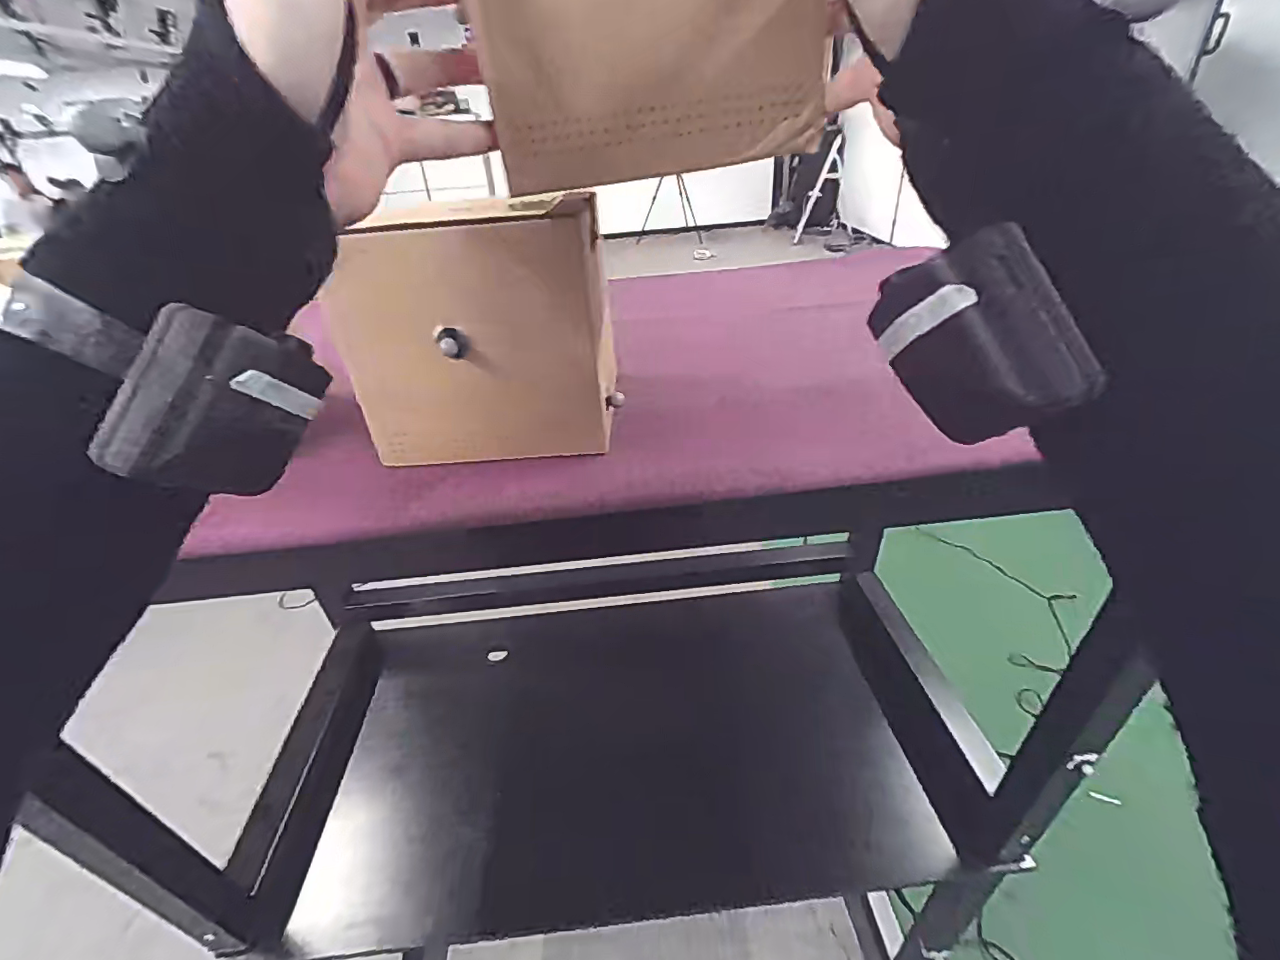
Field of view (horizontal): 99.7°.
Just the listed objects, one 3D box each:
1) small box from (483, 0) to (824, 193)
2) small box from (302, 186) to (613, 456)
[{"bbox_3d":[0.004,-0.282,0.323,0.179,0.176,0.168,-7,35,3],"label":"small box"},{"bbox_3d":[-0.118,-0.134,0.443,0.179,0.176,0.168,-5,33,4],"label":"small box"}]
